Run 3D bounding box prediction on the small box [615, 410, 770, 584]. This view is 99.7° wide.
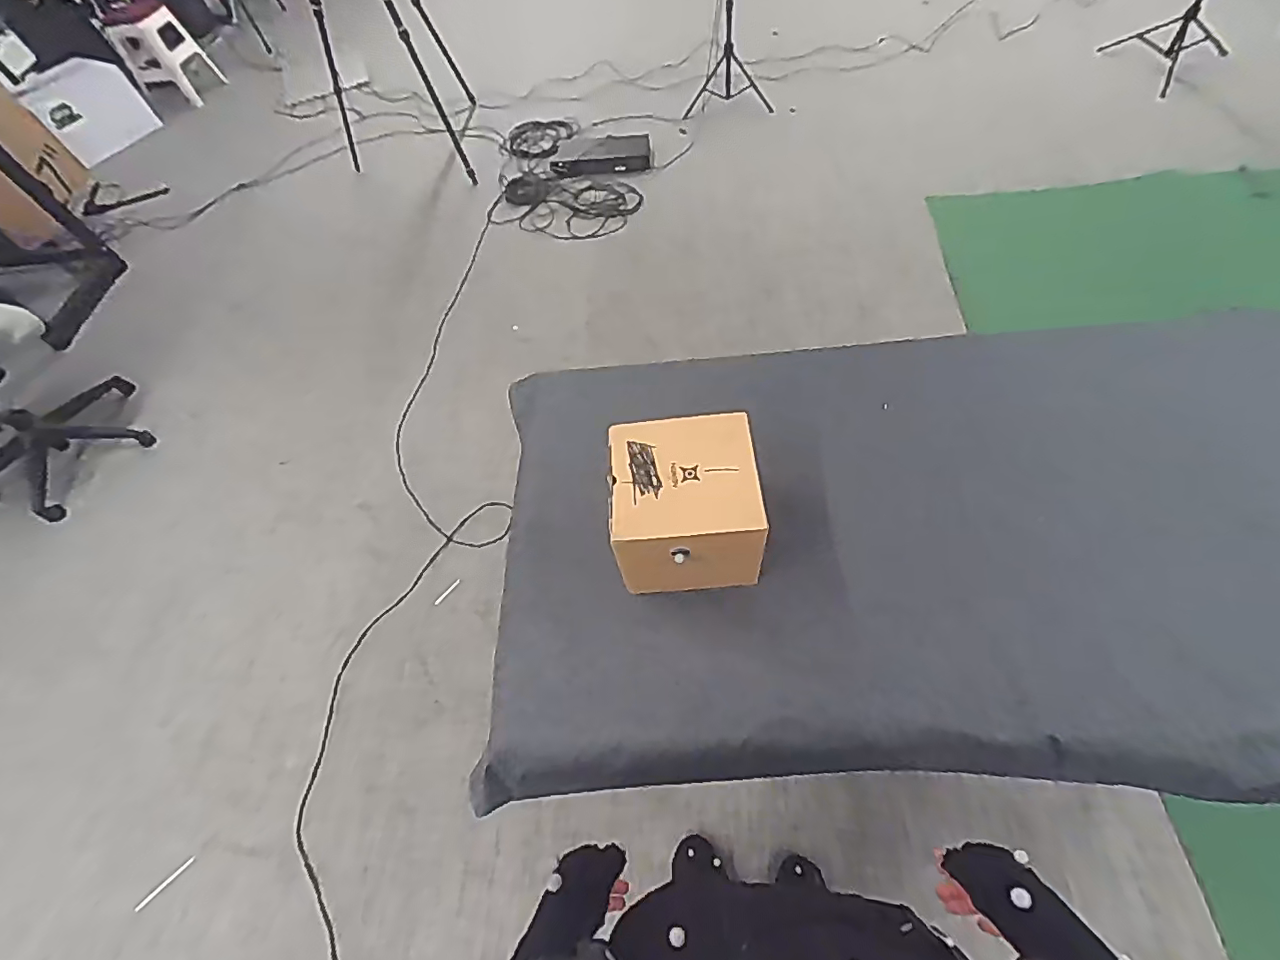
[{"bbox_3d":[0.066,0.030,0.712,0.179,0.176,0.168,-5,59,4],"label":"small box"}]
